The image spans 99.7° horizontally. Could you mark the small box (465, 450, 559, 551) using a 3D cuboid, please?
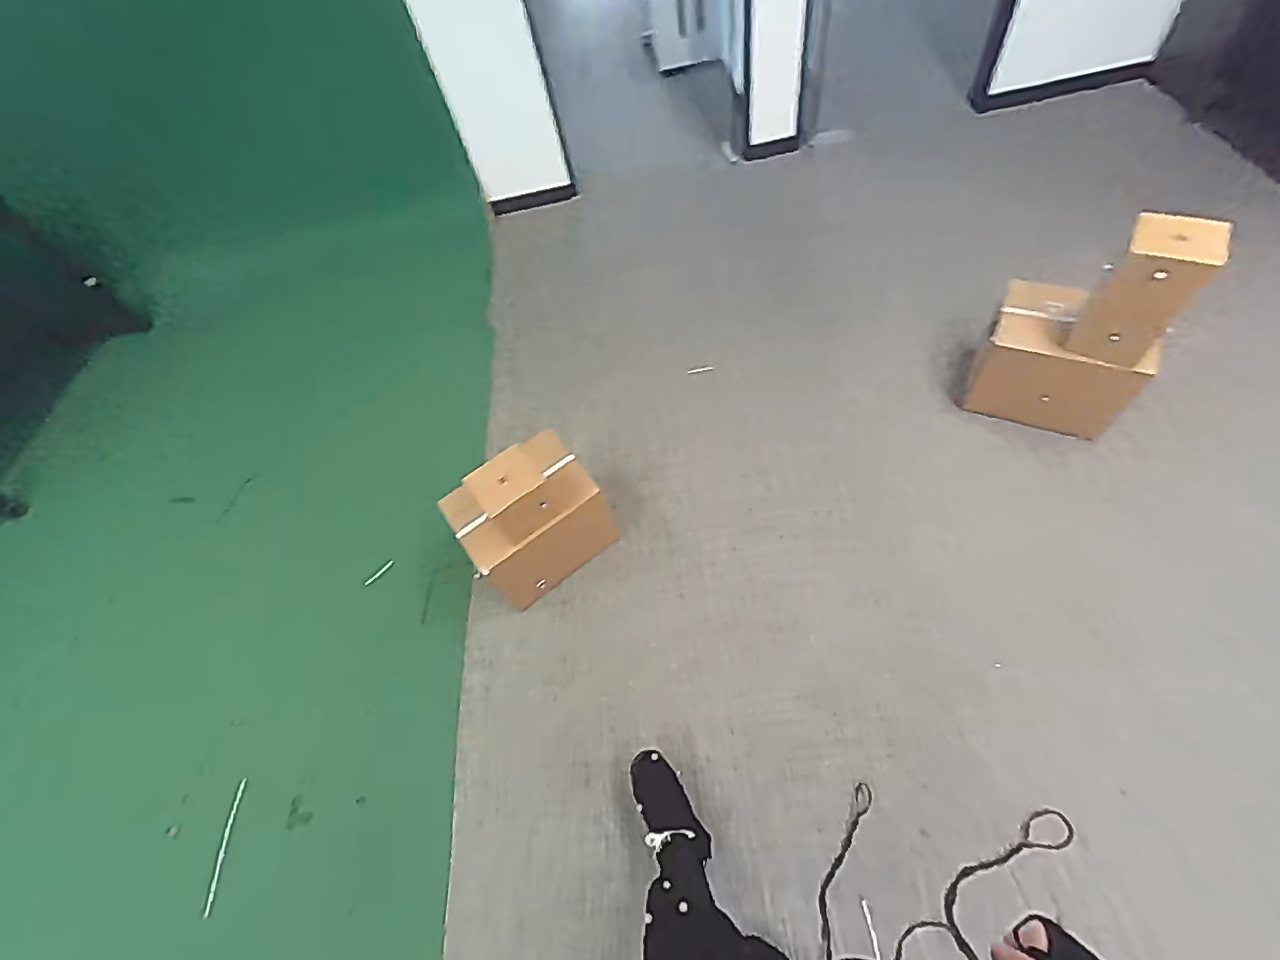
[{"bbox_3d":[-0.339,0.059,1.471,0.179,0.176,0.168,-36,58,-12],"label":"small box"}]

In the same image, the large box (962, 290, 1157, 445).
[{"bbox_3d":[1.321,-0.359,1.730,0.408,0.320,0.320,18,61,22],"label":"large box"}]

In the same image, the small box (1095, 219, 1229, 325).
[{"bbox_3d":[1.288,-0.512,1.343,0.179,0.176,0.168,22,65,24],"label":"small box"}]
